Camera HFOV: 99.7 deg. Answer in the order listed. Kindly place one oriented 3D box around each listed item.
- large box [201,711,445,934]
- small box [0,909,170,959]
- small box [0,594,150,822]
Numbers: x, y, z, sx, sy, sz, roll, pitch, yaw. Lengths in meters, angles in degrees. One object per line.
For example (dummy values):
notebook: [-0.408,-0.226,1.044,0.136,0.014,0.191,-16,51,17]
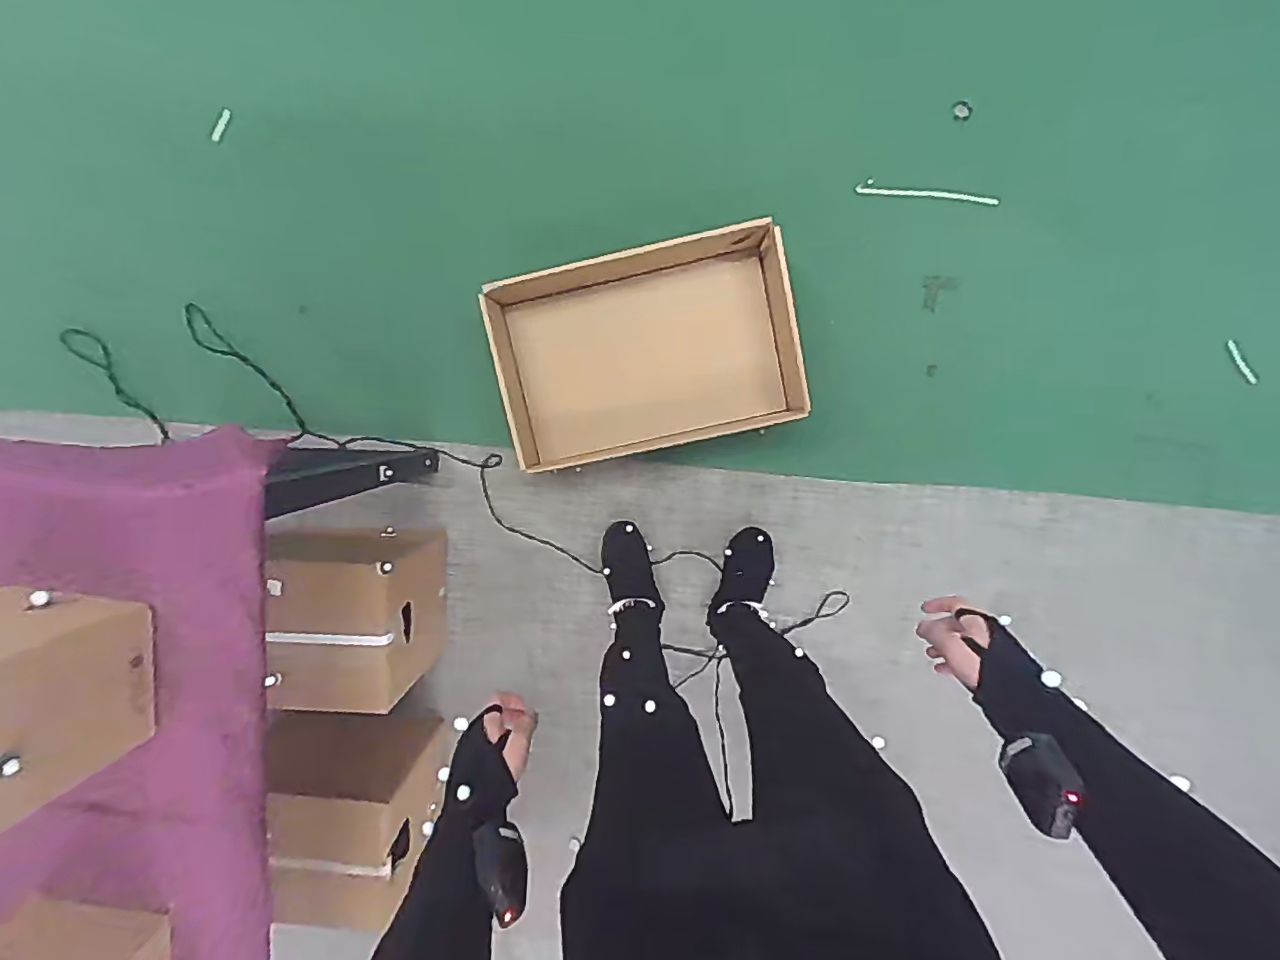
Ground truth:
large box: [-0.715,0.783,1.281,0.408,0.320,0.320,4,97,3]
small box: [-0.673,0.620,0.591,0.179,0.176,0.168,6,98,2]
small box: [-0.649,0.223,0.538,0.179,0.176,0.168,6,98,4]
